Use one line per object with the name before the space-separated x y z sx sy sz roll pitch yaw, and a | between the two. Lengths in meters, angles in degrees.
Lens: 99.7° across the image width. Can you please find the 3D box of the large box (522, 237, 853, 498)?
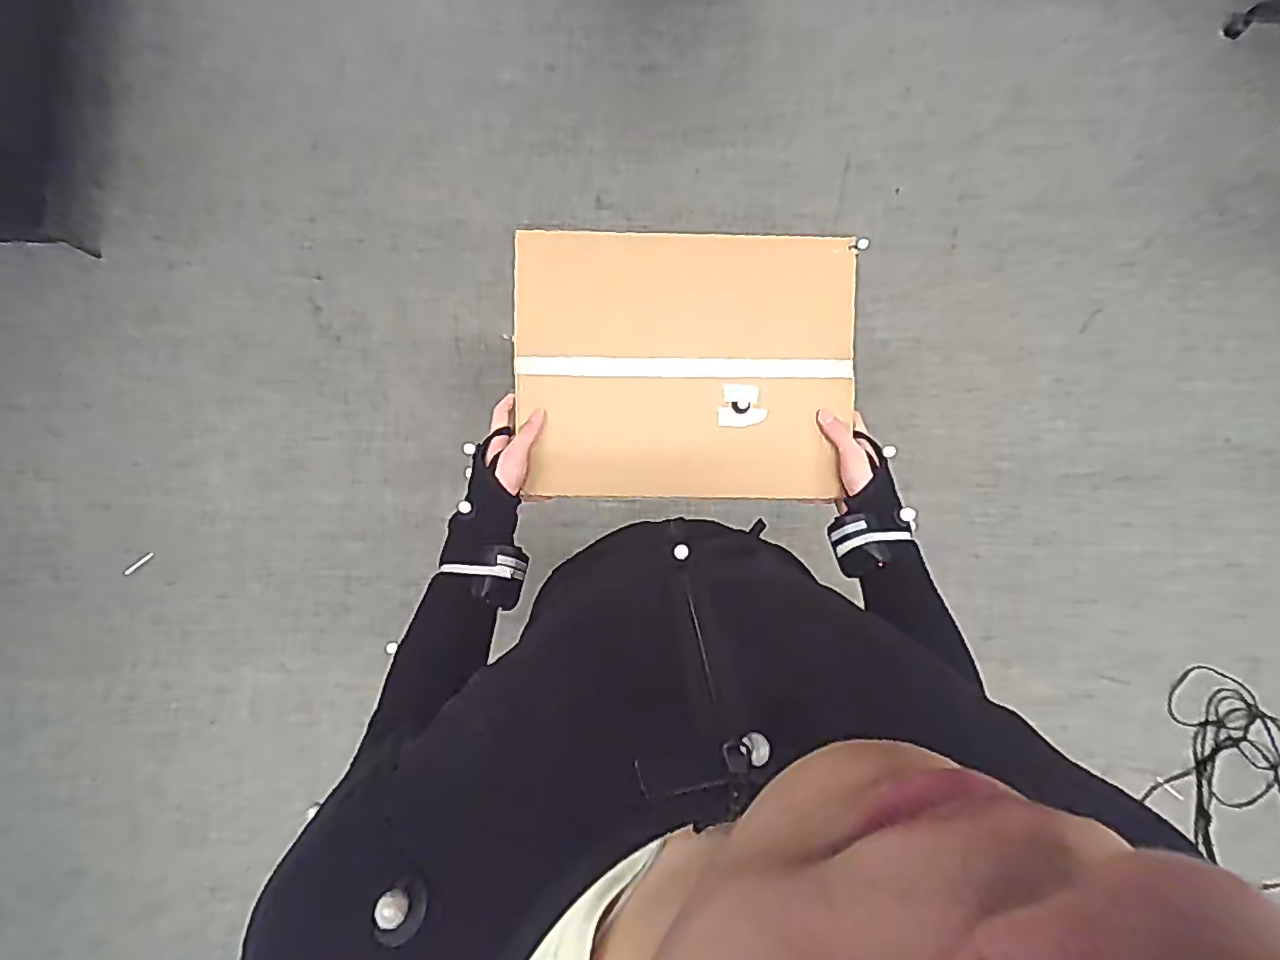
large box | 0.054 -0.144 0.802 0.408 0.320 0.320 0 94 -2
